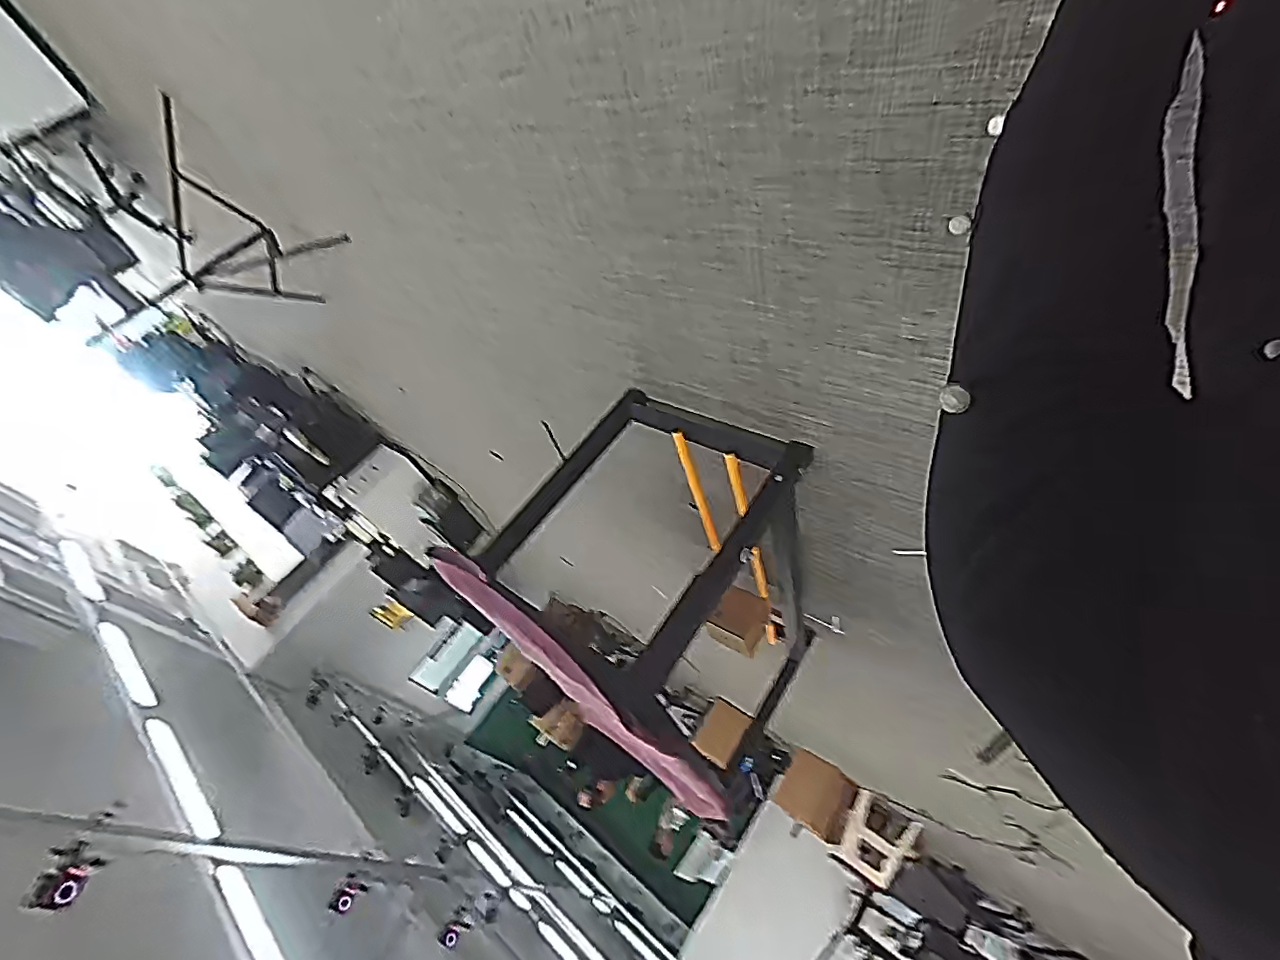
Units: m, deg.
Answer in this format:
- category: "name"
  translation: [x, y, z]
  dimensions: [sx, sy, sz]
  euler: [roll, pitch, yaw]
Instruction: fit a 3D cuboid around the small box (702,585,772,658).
- category: "small box"
  translation: [0.352, 0.502, 1.951]
  dimensions: [0.179, 0.176, 0.168]
  euler: [20, 151, 34]
